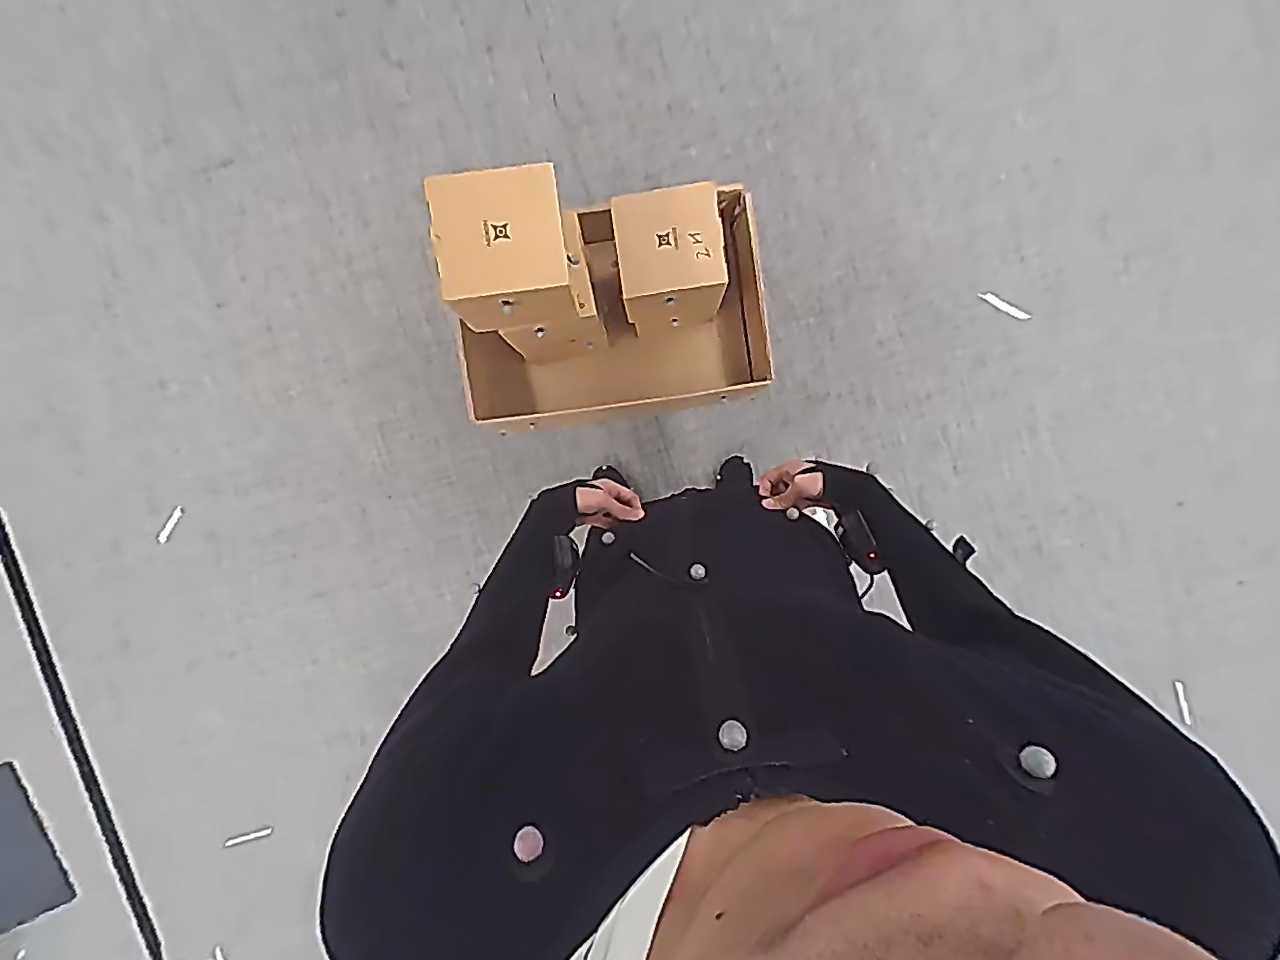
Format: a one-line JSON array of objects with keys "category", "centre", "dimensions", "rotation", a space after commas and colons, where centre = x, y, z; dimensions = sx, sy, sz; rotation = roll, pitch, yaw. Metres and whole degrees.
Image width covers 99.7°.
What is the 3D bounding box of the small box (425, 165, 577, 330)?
[{"category": "small box", "centre": [-0.190, -0.329, 0.796], "dimensions": [0.179, 0.176, 0.168], "rotation": [-8, 92, 0]}]
